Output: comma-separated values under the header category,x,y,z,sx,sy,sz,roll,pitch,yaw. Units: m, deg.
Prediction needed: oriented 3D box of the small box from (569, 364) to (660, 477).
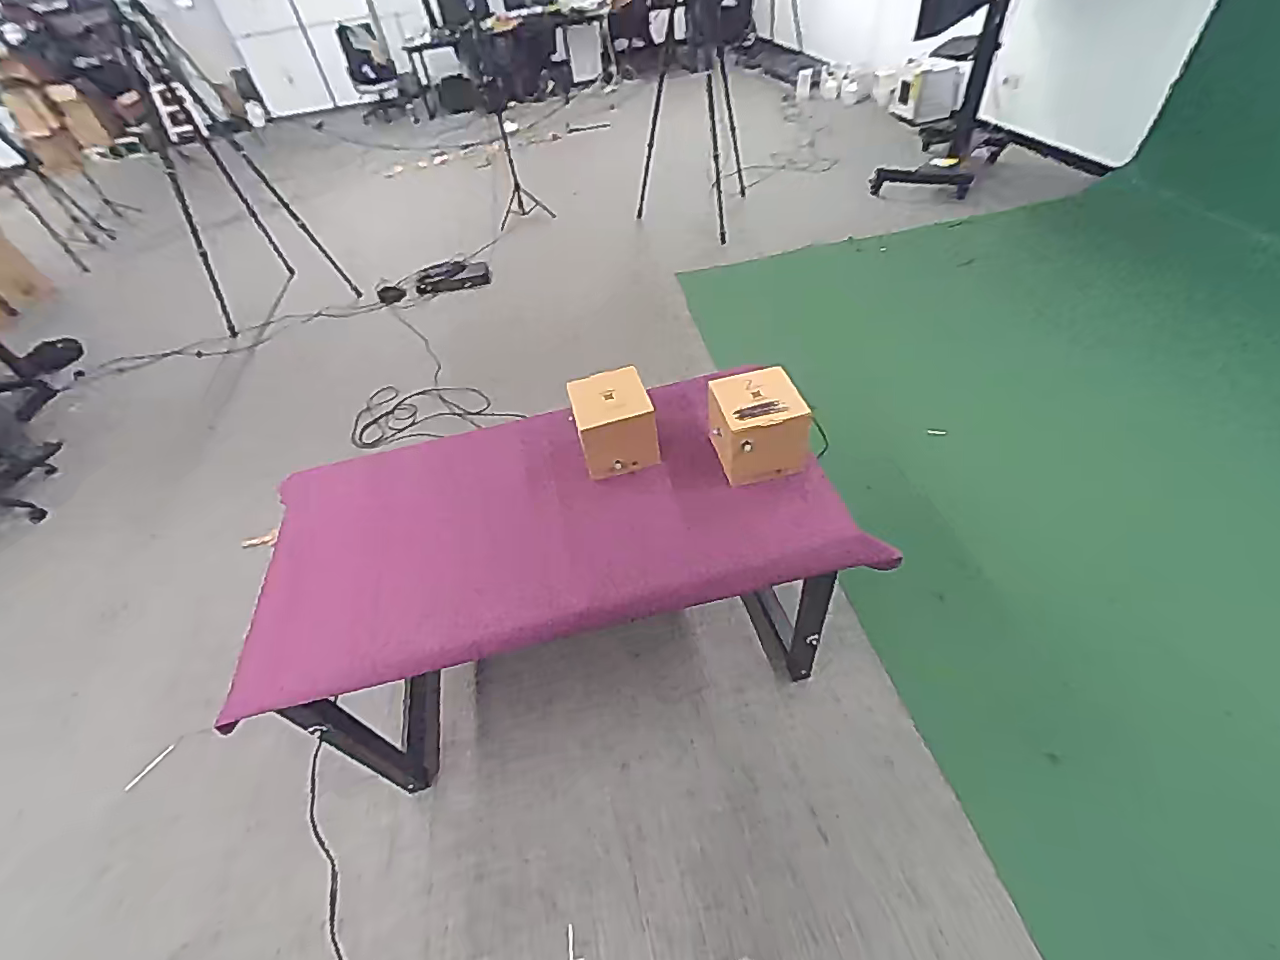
category,x,y,z,sx,sy,sz,roll,pitch,yaw
small box,-0.057,-0.135,1.240,0.168,0.176,0.179,-15,48,-5
